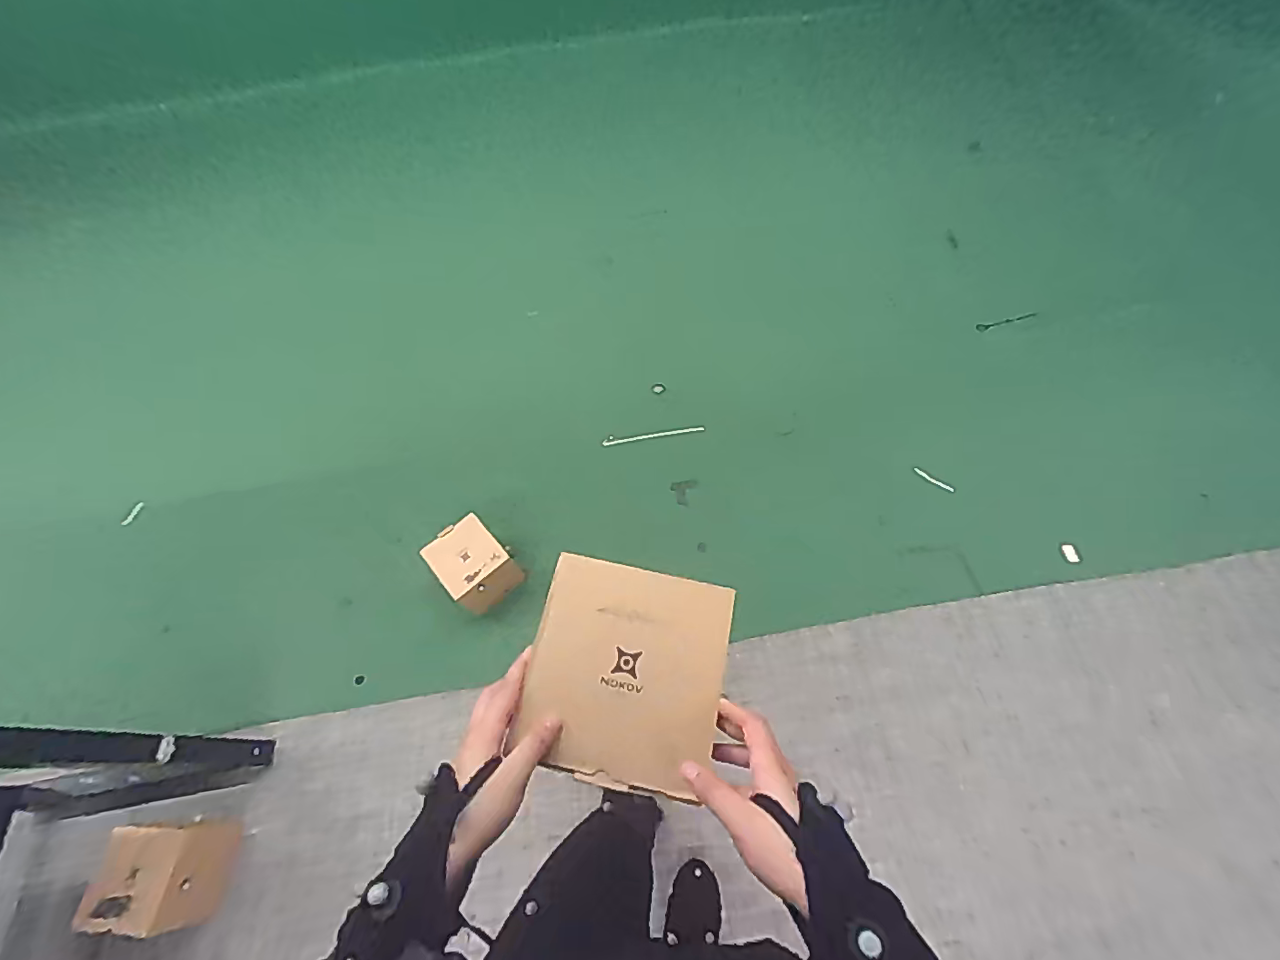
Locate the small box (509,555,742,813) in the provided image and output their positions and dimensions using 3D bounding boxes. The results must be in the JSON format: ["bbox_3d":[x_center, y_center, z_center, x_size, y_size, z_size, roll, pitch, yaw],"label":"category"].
[{"bbox_3d":[-0.009,0.197,0.526,0.168,0.176,0.179,13,64,3],"label":"small box"}]

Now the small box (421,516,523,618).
[{"bbox_3d":[-0.434,0.233,1.417,0.168,0.176,0.179,-39,66,-16],"label":"small box"}]

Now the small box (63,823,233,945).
[{"bbox_3d":[-1.008,0.832,1.129,0.168,0.176,0.179,2,61,4],"label":"small box"}]
